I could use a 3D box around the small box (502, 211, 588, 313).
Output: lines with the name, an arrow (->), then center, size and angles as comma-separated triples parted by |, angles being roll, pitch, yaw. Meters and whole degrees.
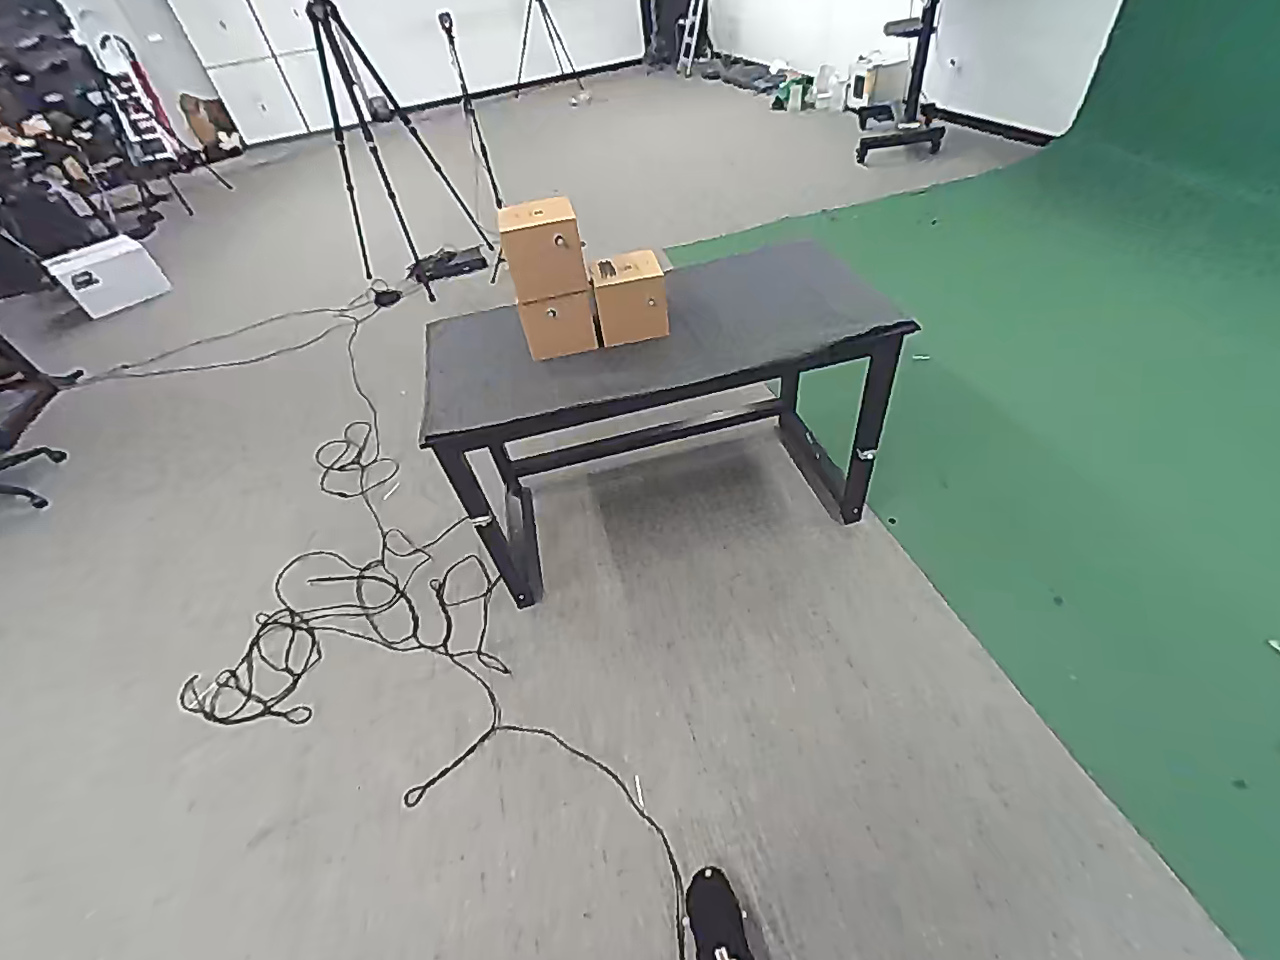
small box -> -0.226, -0.529, 1.316 | 0.179, 0.176, 0.168 | -13, 43, -4
